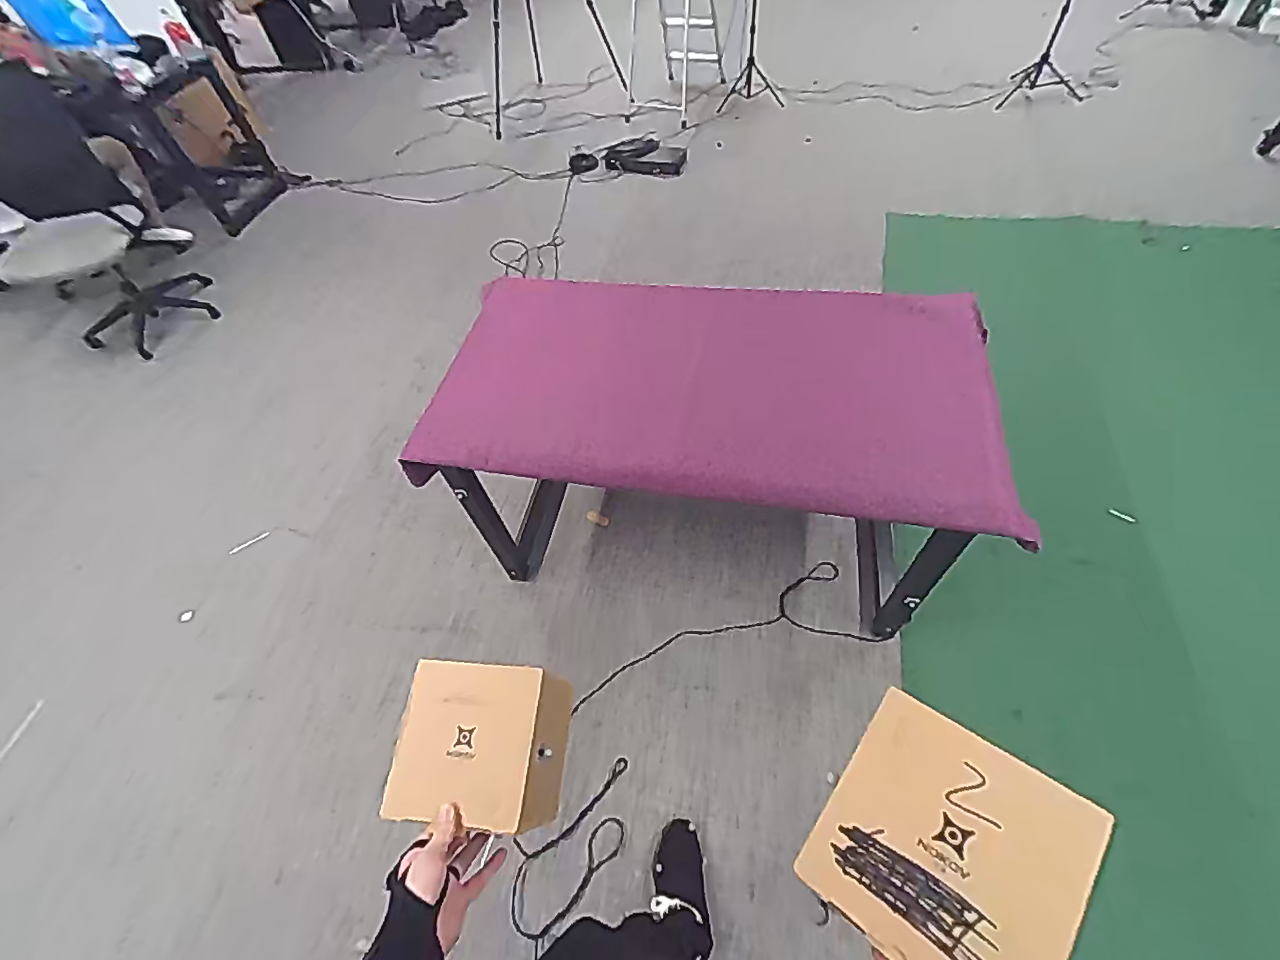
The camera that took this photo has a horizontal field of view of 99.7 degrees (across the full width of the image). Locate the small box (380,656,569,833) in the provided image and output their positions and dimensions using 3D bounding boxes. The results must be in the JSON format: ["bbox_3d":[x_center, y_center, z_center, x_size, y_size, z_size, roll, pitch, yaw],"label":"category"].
[{"bbox_3d":[-0.198,0.339,0.707,0.168,0.176,0.179,2,64,8],"label":"small box"}]
